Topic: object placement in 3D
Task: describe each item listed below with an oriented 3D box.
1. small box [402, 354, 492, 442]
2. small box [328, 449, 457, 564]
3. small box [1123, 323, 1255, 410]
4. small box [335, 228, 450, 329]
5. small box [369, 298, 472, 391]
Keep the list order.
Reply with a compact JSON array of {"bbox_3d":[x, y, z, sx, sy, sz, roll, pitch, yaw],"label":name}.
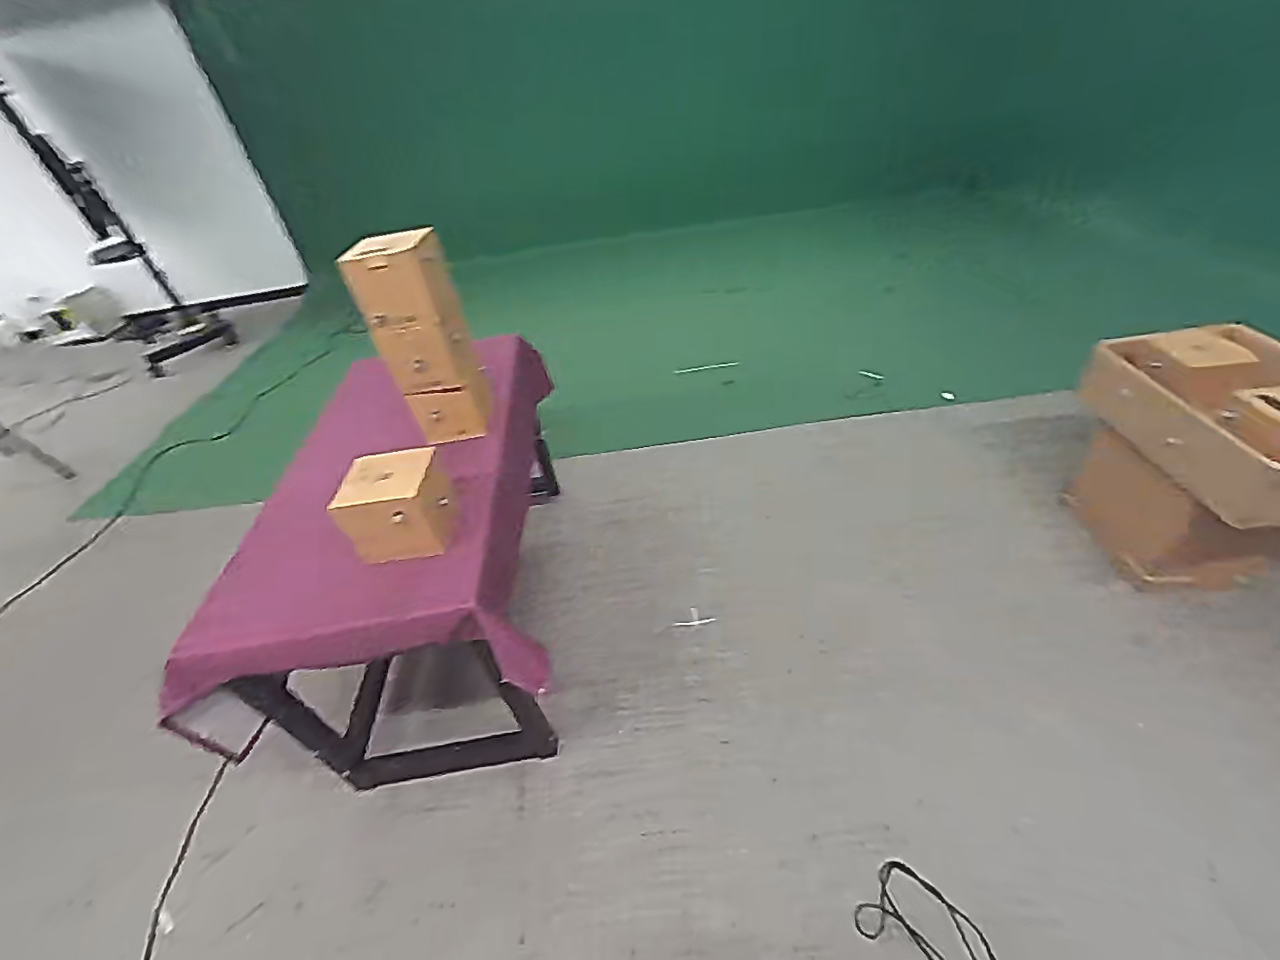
[{"bbox_3d":[-0.519,-0.219,1.480,0.168,0.176,0.179,-10,40,2],"label":"small box"},{"bbox_3d":[-0.513,0.058,1.154,0.179,0.176,0.168,-9,40,3],"label":"small box"},{"bbox_3d":[1.528,-0.318,1.523,0.168,0.176,0.179,-7,42,6],"label":"small box"},{"bbox_3d":[-0.567,-0.466,1.269,0.168,0.176,0.179,-8,39,4],"label":"small box"},{"bbox_3d":[-0.543,-0.337,1.369,0.168,0.176,0.179,-7,41,5],"label":"small box"}]
